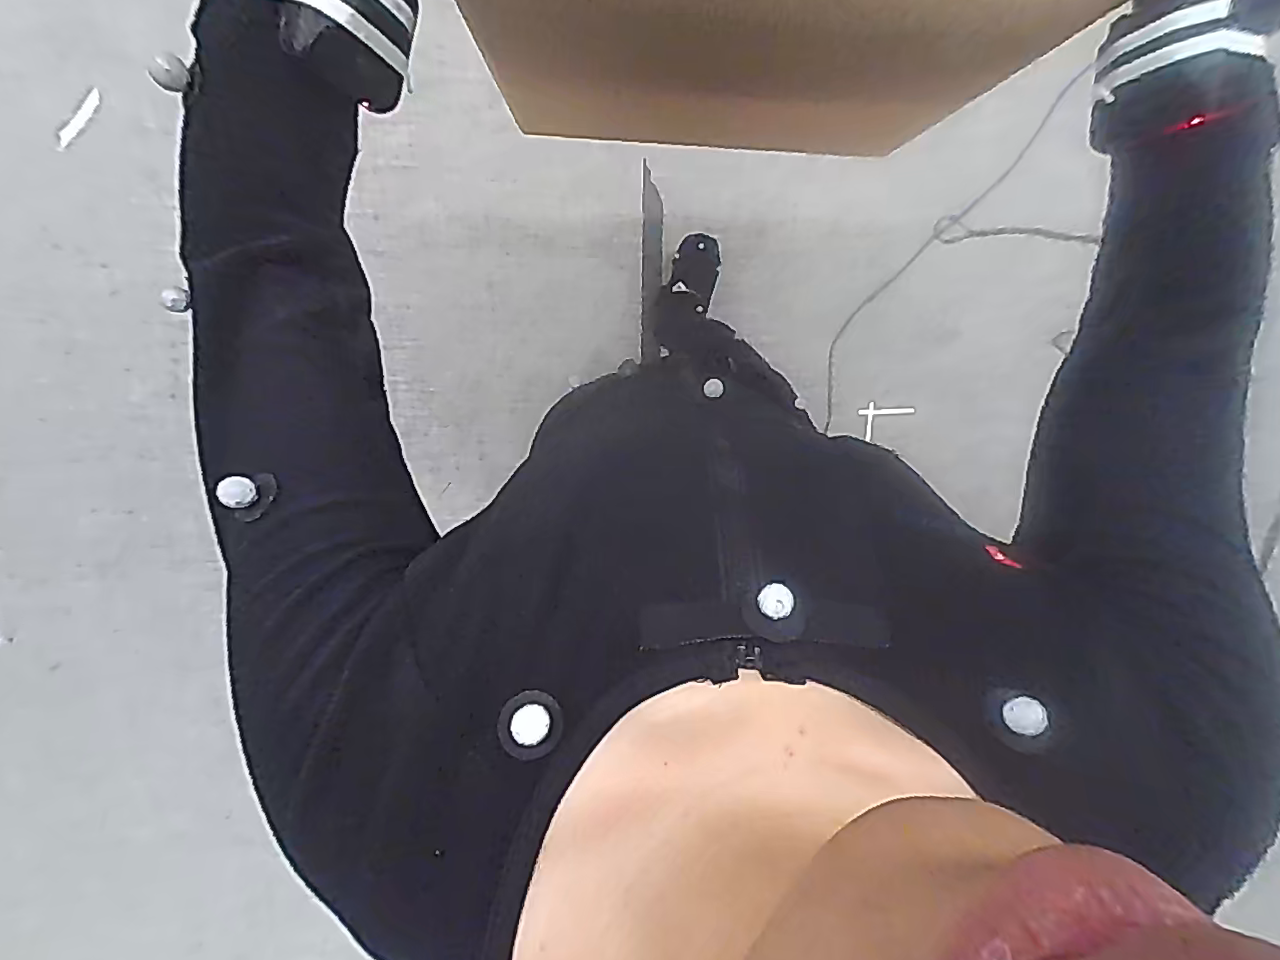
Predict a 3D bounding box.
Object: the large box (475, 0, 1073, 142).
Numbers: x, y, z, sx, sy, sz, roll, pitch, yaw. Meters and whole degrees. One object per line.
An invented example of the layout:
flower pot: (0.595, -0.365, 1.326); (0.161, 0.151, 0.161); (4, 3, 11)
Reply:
large box: (0.082, -0.482, 0.411); (0.408, 0.320, 0.320); (1, 106, -3)

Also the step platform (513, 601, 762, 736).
step platform: (-0.007, 0.527, 1.517); (0.684, 0.204, 0.286); (-3, 104, 0)
